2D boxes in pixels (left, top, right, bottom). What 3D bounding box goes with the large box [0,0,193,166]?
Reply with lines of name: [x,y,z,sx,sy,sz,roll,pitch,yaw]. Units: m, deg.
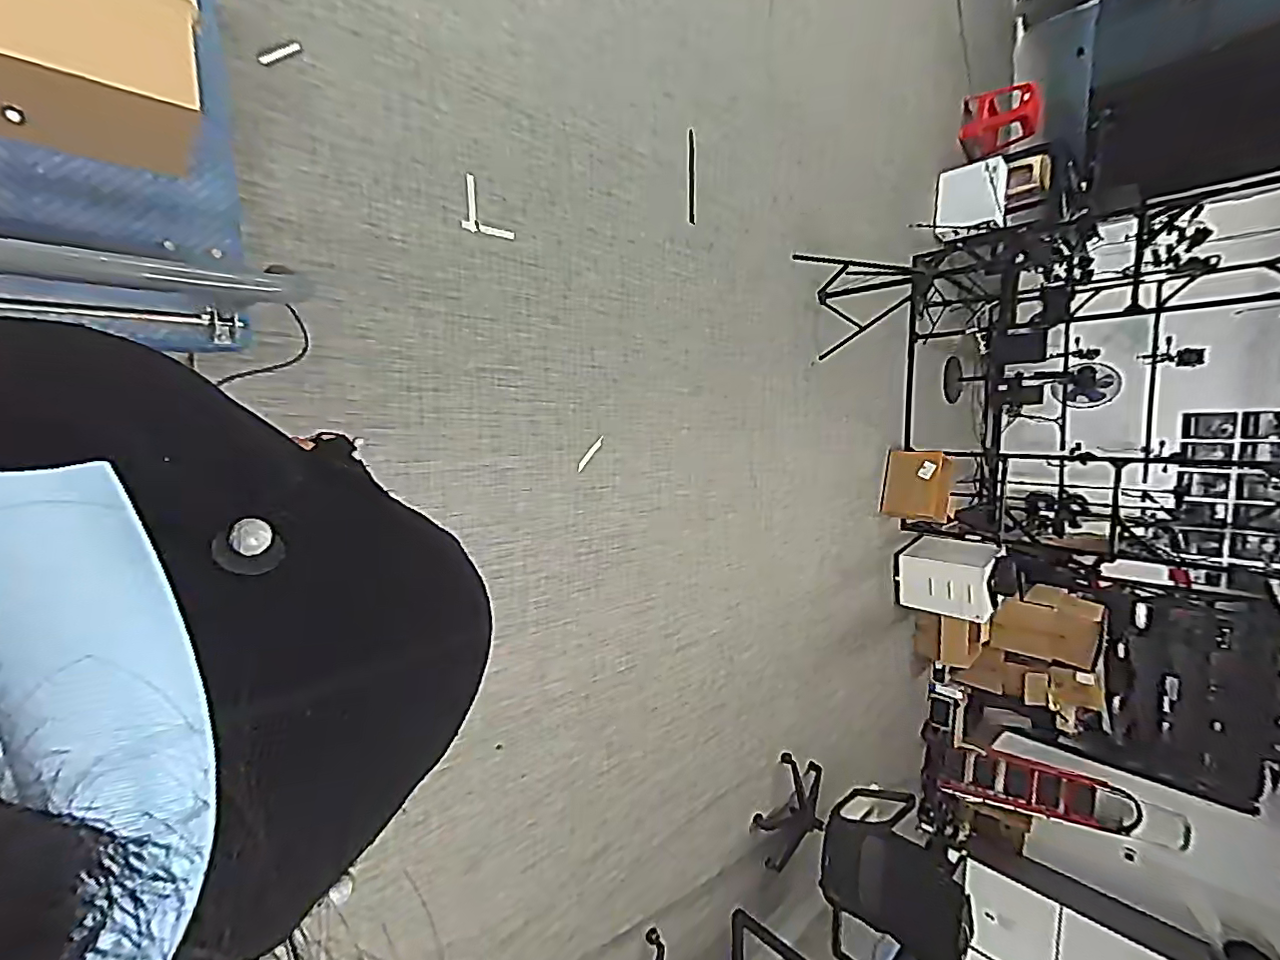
large box: [-0.910,-0.699,0.754,0.408,0.320,0.320,-7,98,-43]
